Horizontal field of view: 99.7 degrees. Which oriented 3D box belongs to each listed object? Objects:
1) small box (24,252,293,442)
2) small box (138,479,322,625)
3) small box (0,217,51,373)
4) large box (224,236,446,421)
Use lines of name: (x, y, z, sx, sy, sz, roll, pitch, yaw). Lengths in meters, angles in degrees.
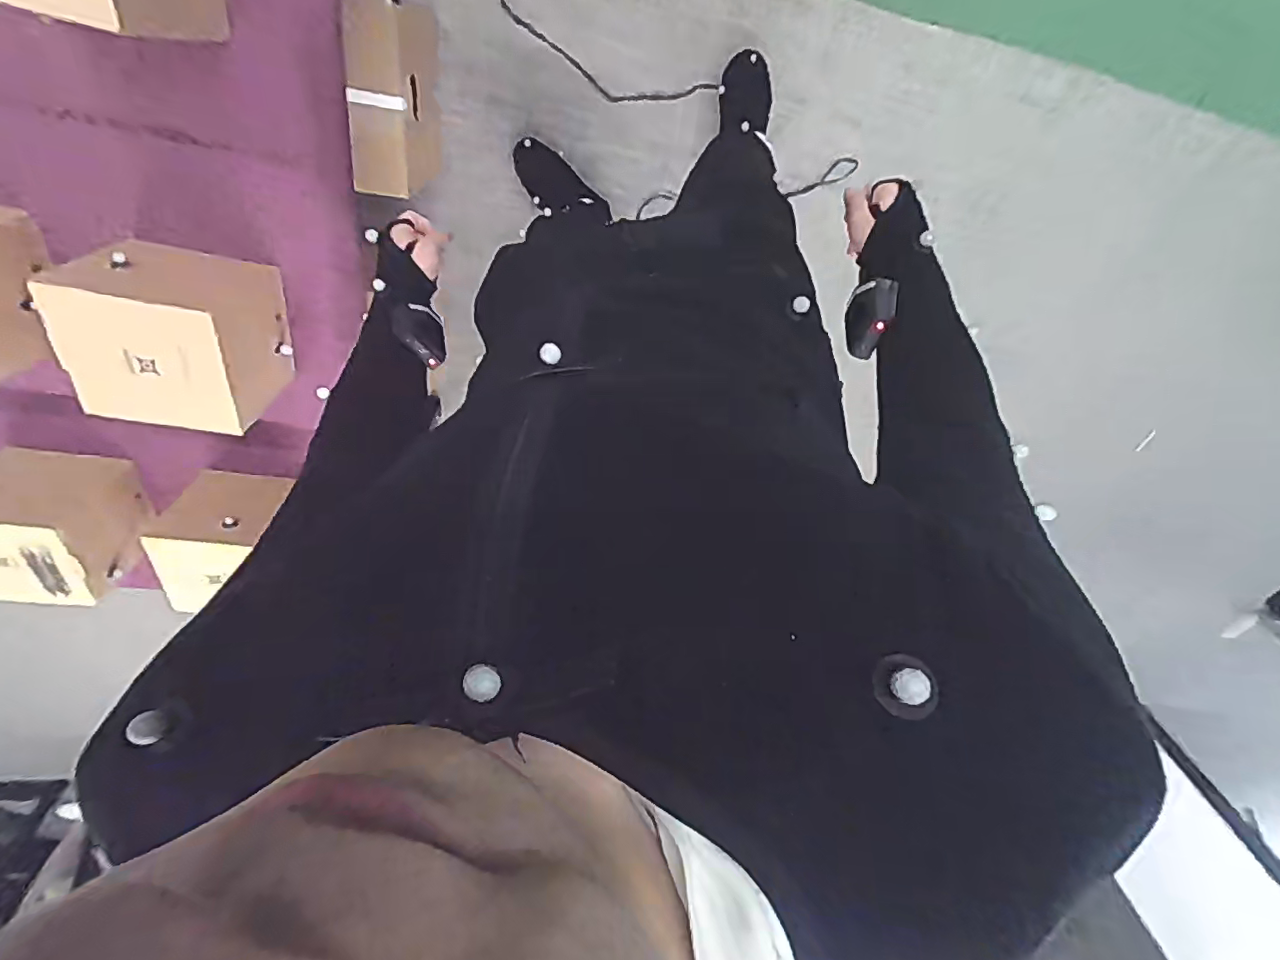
small box: (-0.578, -0.172, 0.683, 0.179, 0.176, 0.168, 9, 127, -11)
small box: (-0.651, 0.115, 0.892, 0.179, 0.176, 0.168, 7, 126, -8)
small box: (-0.843, -0.217, 0.626, 0.179, 0.176, 0.168, 8, 126, -12)
large box: (-0.726, -0.379, 1.346, 0.408, 0.320, 0.320, 7, 125, -10)
